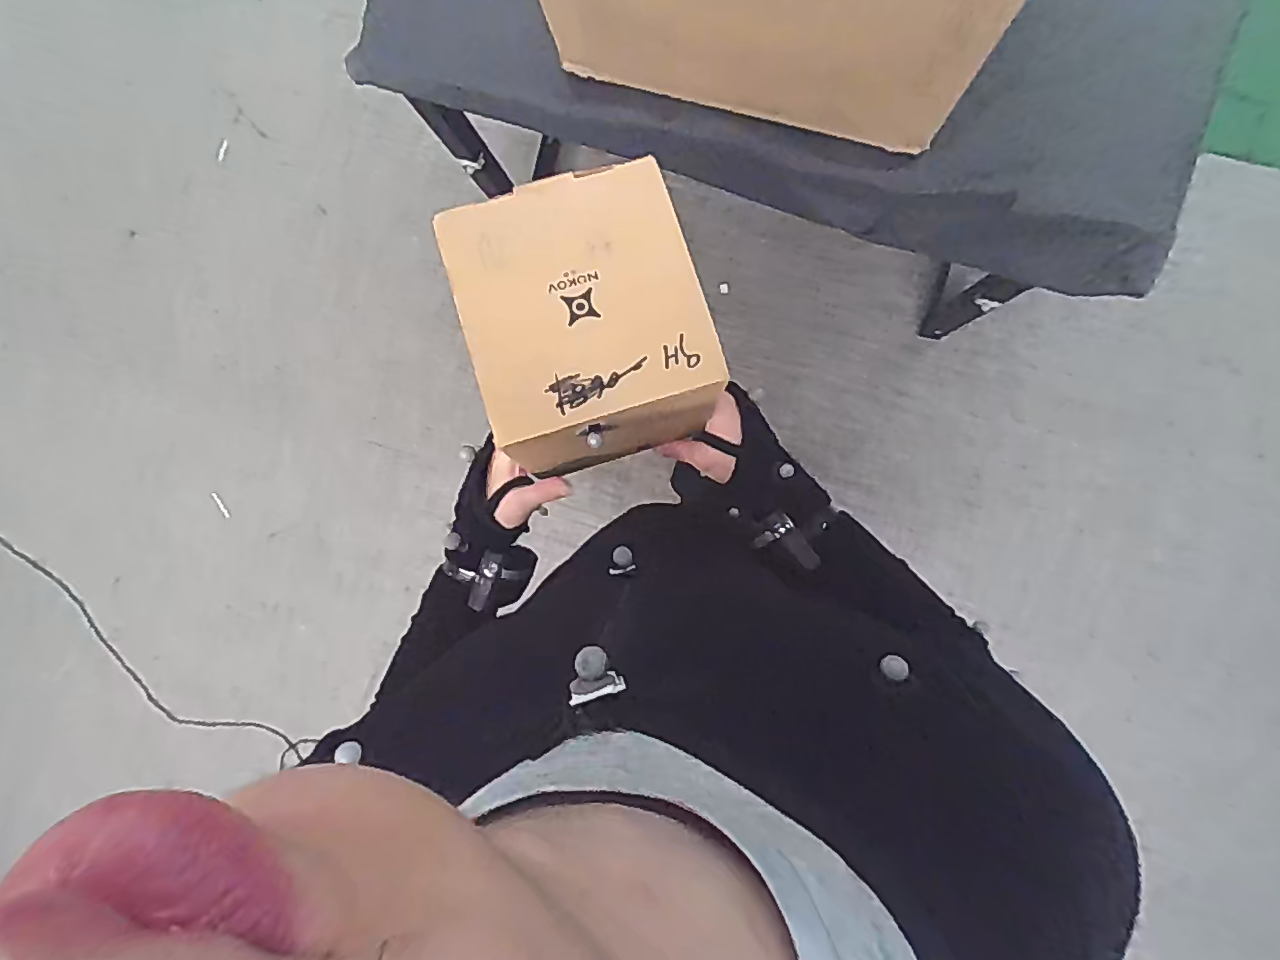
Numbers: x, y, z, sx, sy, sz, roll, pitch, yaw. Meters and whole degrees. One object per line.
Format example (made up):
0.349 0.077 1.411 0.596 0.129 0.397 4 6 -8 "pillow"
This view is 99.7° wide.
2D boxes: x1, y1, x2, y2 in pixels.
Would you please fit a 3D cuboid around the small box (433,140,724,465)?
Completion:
-0.044 -0.127 0.449 0.168 0.176 0.179 -17 83 -1 "small box"
